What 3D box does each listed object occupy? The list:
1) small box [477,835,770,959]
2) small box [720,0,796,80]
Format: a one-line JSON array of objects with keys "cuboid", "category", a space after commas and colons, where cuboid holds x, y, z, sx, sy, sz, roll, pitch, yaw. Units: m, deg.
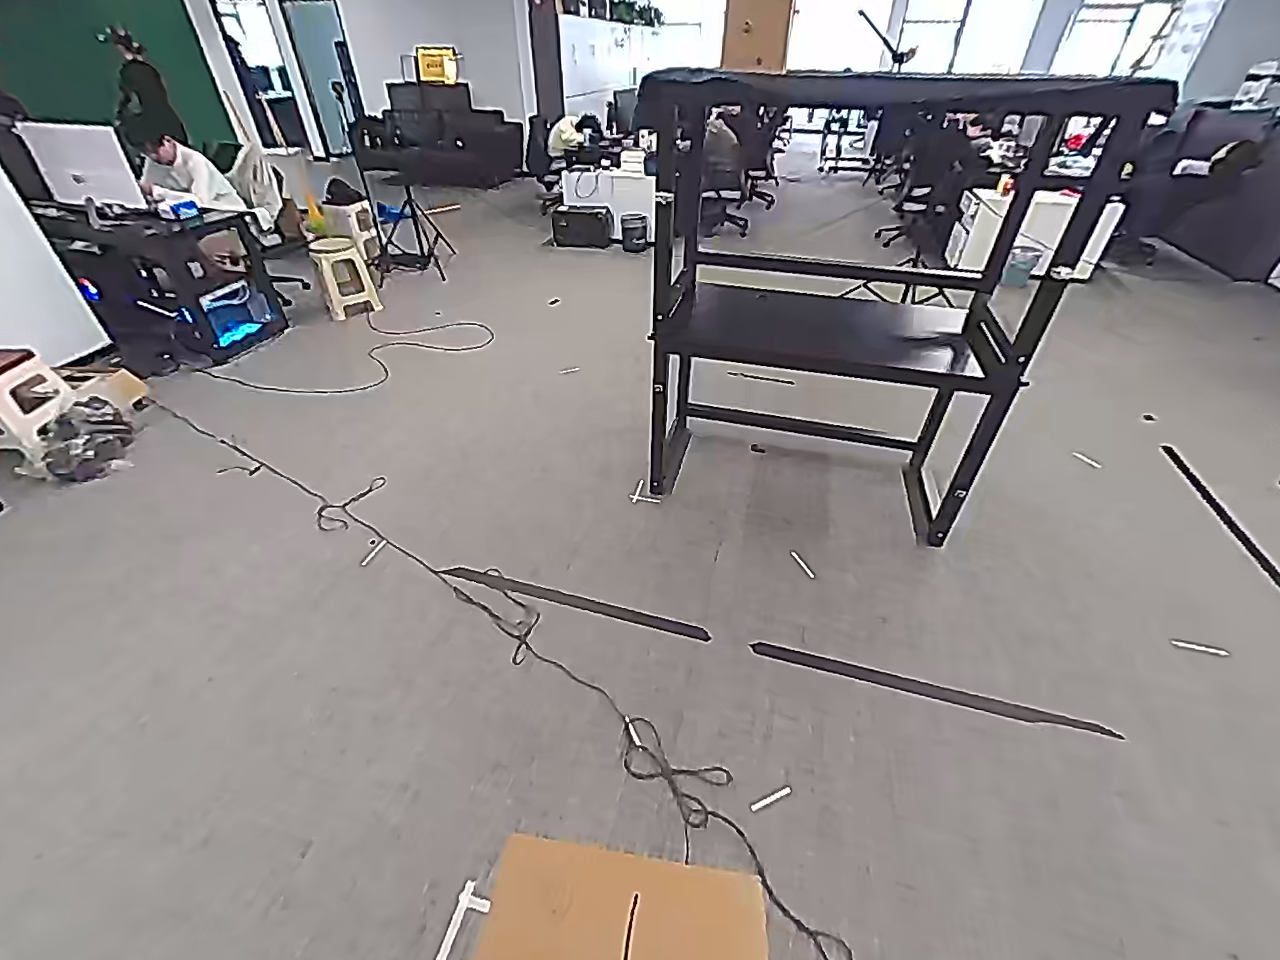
[{"cuboid": [-0.021, 0.352, 0.315, 0.168, 0.176, 0.179, 10, 32, 0], "category": "small box"}, {"cuboid": [0.309, -1.162, 1.425, 0.168, 0.176, 0.179, 10, 37, 11], "category": "small box"}]
